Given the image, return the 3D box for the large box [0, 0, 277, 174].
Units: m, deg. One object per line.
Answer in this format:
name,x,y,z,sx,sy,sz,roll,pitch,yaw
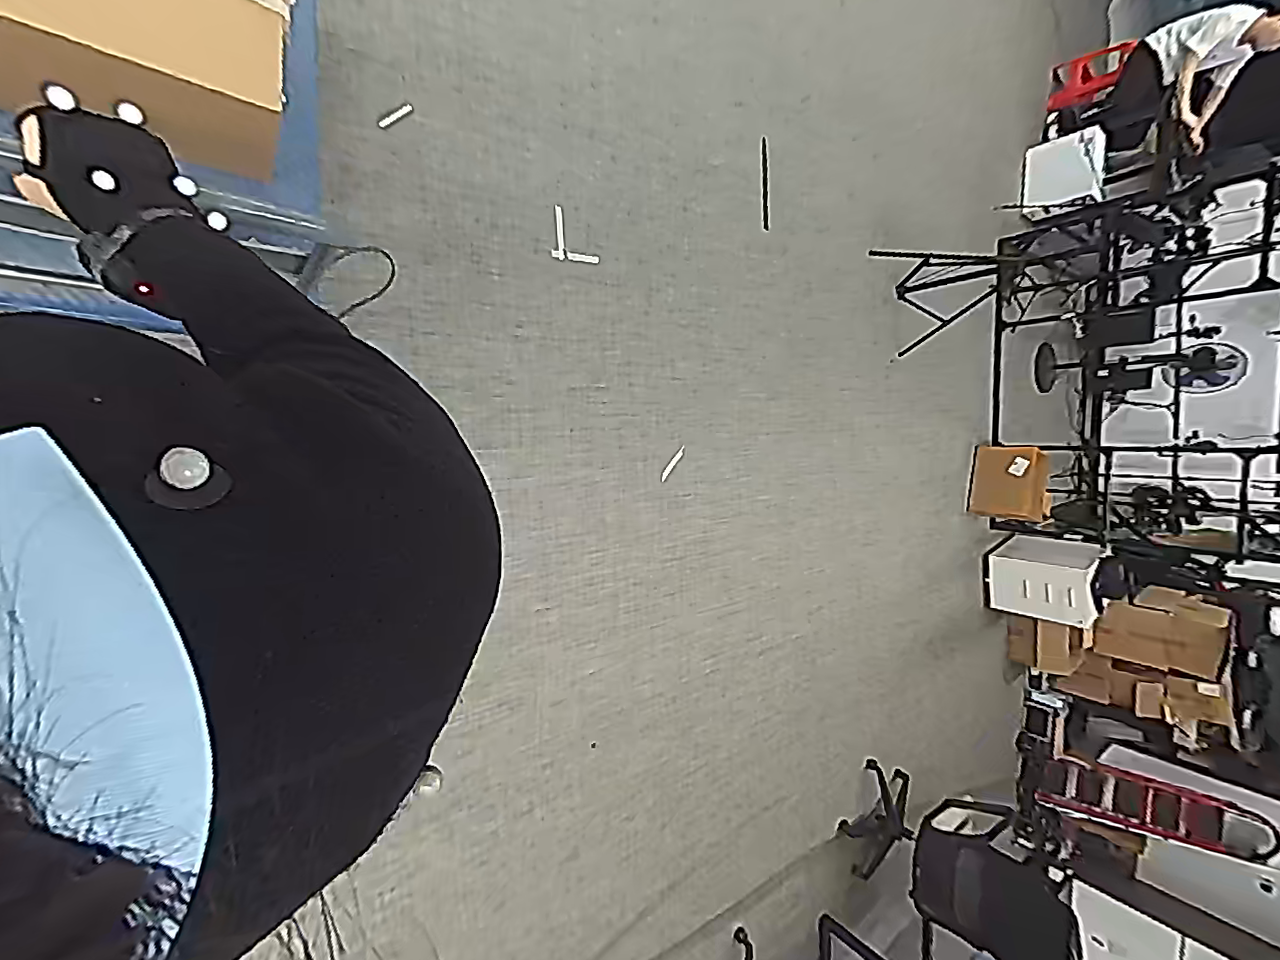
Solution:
large box,-0.821,-0.749,0.849,0.408,0.320,0.320,0,93,-37
